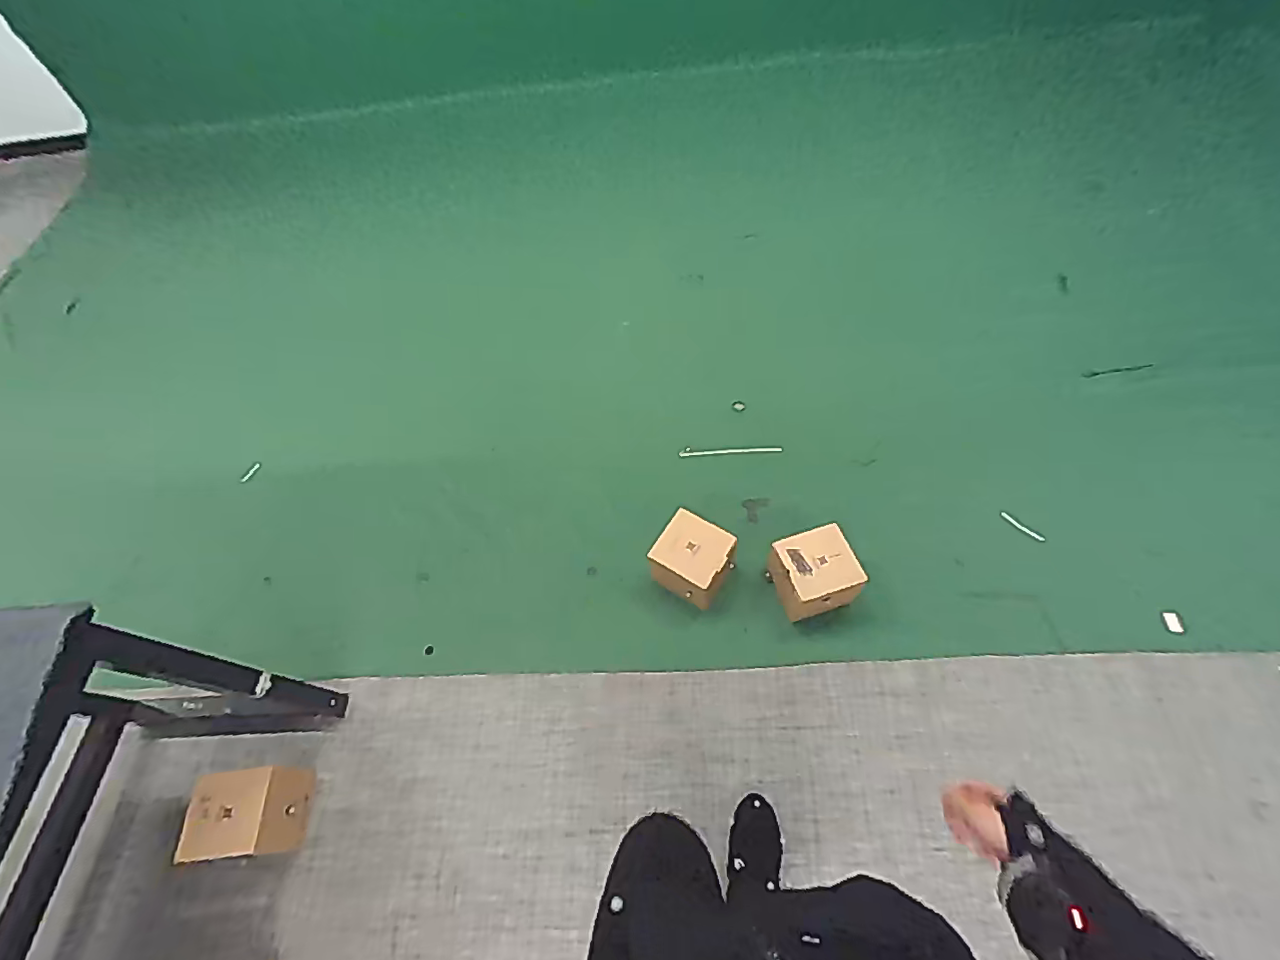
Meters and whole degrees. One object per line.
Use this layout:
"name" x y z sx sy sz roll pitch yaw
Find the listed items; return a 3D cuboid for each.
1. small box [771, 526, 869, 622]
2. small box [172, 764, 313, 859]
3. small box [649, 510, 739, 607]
"small box" 0.447 0.245 1.382 0.179 0.176 0.168 -16 60 -5
"small box" -0.885 0.748 1.227 0.179 0.176 0.168 -7 59 2
"small box" 0.145 0.215 1.432 0.179 0.176 0.168 28 66 21
